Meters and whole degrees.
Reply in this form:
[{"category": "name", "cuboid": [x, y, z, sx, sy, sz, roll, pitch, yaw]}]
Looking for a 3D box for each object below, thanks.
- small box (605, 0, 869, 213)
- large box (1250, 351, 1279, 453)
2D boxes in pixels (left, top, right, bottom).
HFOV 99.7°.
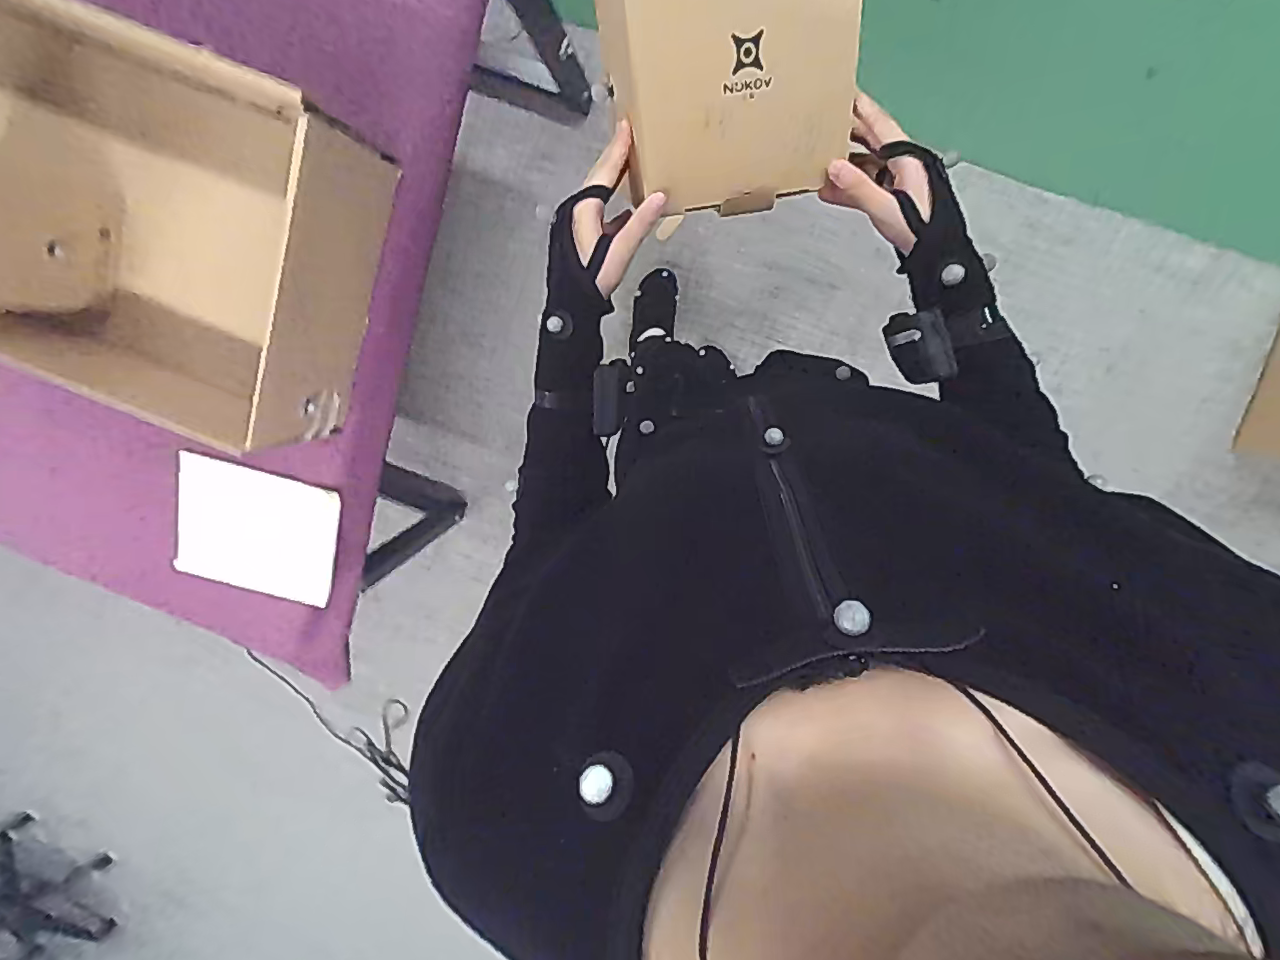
[{"category": "small box", "cuboid": [0.067, -0.339, 0.444, 0.168, 0.176, 0.179, -10, 126, -3]}, {"category": "large box", "cuboid": [1.636, -0.225, 1.124, 0.320, 0.320, 0.408, 6, 104, 5]}]
